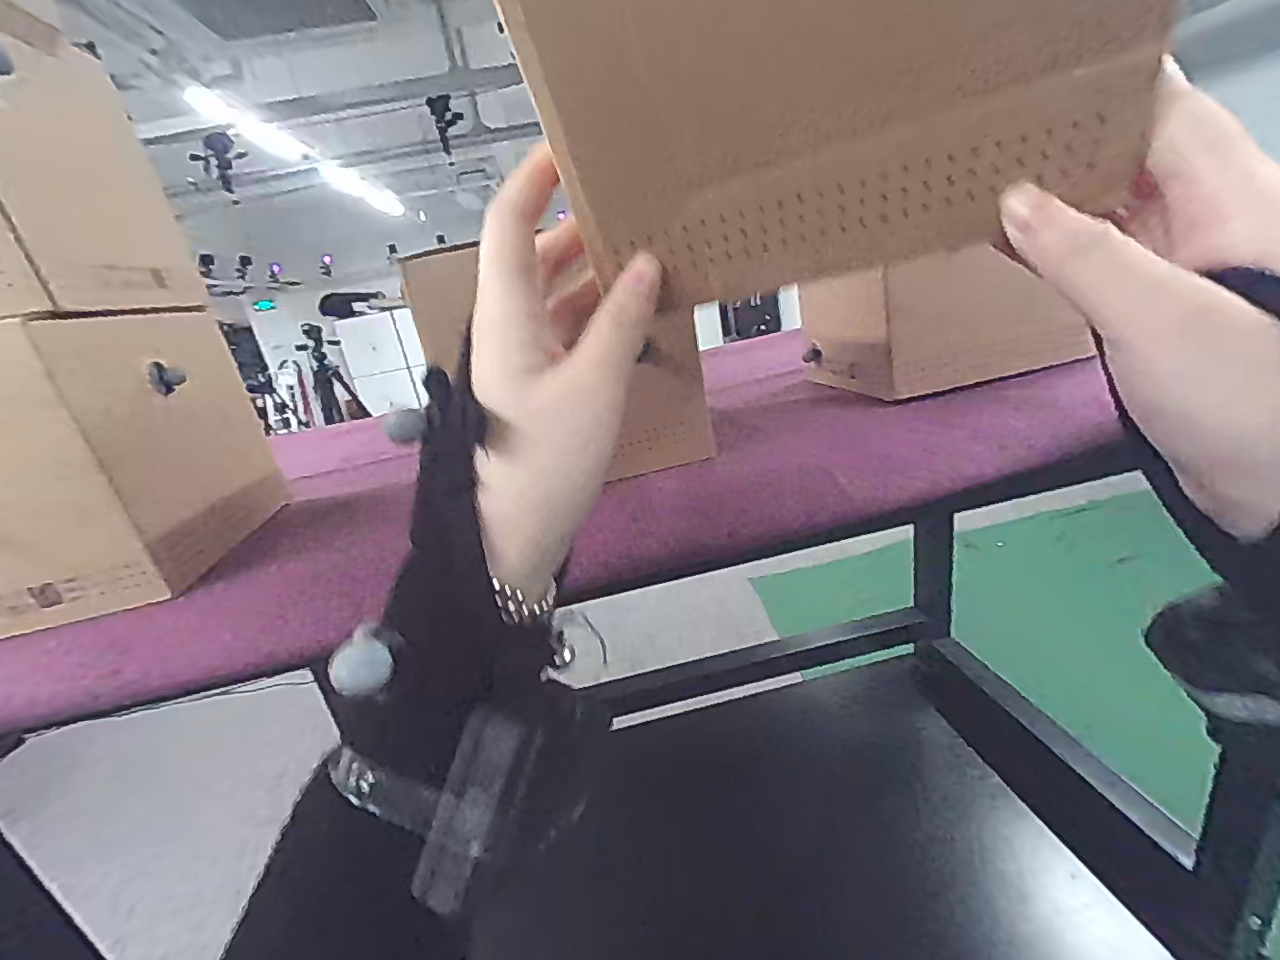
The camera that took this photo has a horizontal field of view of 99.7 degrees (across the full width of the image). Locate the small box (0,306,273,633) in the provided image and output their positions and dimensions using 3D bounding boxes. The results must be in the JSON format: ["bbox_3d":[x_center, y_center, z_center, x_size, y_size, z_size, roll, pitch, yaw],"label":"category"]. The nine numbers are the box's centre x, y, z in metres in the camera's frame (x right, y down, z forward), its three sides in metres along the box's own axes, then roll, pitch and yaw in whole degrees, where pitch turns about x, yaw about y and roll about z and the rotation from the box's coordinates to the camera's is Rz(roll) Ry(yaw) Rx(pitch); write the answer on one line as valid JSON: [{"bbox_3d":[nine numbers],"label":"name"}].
[{"bbox_3d":[-0.389,-0.011,0.361,0.168,0.176,0.179,-13,21,-7],"label":"small box"}]

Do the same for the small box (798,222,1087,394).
[{"bbox_3d":[0.247,-0.179,0.470,0.179,0.176,0.168,-12,18,-3],"label":"small box"}]

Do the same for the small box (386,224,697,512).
[{"bbox_3d":[-0.062,-0.095,0.420,0.179,0.176,0.168,-15,20,-6],"label":"small box"}]

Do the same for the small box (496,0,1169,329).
[{"bbox_3d":[0.053,-0.175,0.192,0.179,0.176,0.168,-8,44,15],"label":"small box"}]
